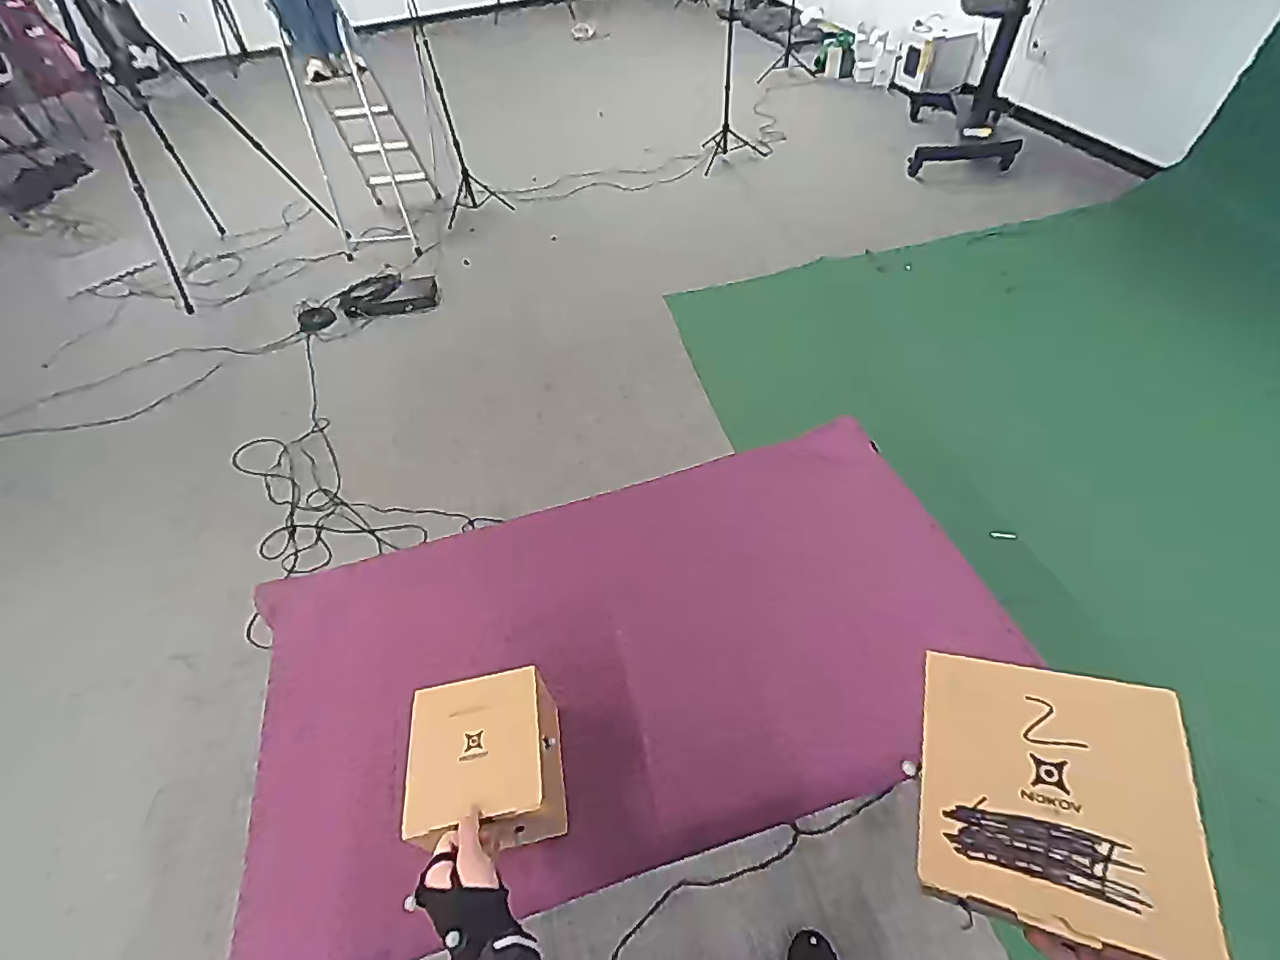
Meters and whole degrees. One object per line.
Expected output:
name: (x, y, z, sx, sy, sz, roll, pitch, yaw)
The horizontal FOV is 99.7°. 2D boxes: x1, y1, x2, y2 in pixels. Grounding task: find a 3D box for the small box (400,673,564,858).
small box: (-0.202, 0.392, 0.734, 0.168, 0.176, 0.179, -11, 47, -4)
